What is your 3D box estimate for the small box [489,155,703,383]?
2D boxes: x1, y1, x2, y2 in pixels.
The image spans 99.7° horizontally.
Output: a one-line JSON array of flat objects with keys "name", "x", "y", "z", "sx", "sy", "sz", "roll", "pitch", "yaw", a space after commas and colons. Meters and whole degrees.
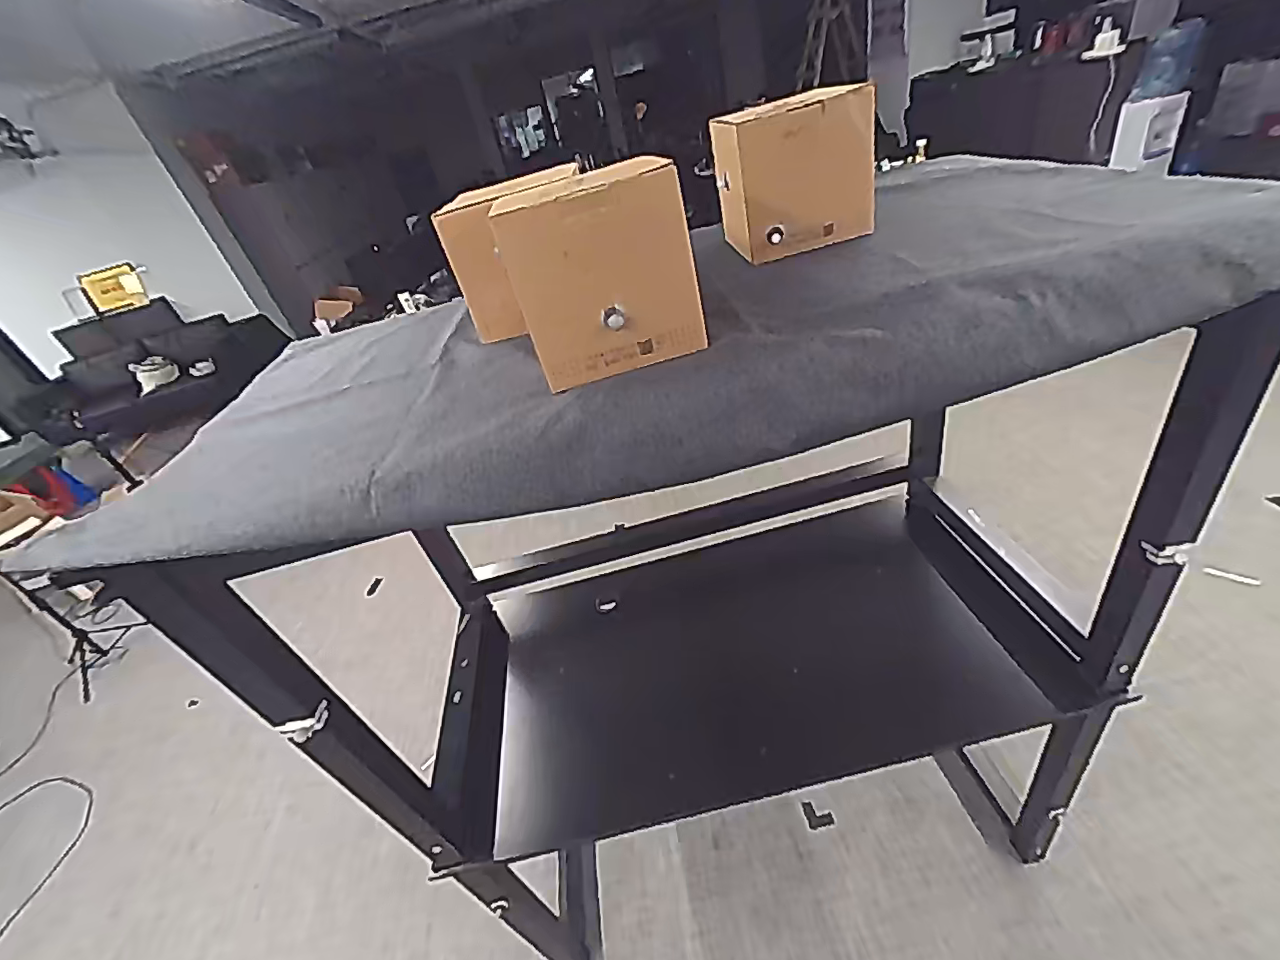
[{"name": "small box", "x": -0.041, "y": -0.221, "z": 0.564, "sx": 0.168, "sy": 0.176, "sz": 0.179, "roll": -16, "pitch": 34, "yaw": 0}]

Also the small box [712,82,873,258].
[{"name": "small box", "x": 0.206, "y": -0.420, "z": 0.742, "sx": 0.168, "sy": 0.176, "sz": 0.179, "roll": -13, "pitch": 34, "yaw": 4}]

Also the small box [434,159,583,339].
[{"name": "small box", "x": -0.145, "y": -0.314, "z": 0.738, "sx": 0.179, "sy": 0.176, "sz": 0.168, "roll": -13, "pitch": 35, "yaw": 6}]
